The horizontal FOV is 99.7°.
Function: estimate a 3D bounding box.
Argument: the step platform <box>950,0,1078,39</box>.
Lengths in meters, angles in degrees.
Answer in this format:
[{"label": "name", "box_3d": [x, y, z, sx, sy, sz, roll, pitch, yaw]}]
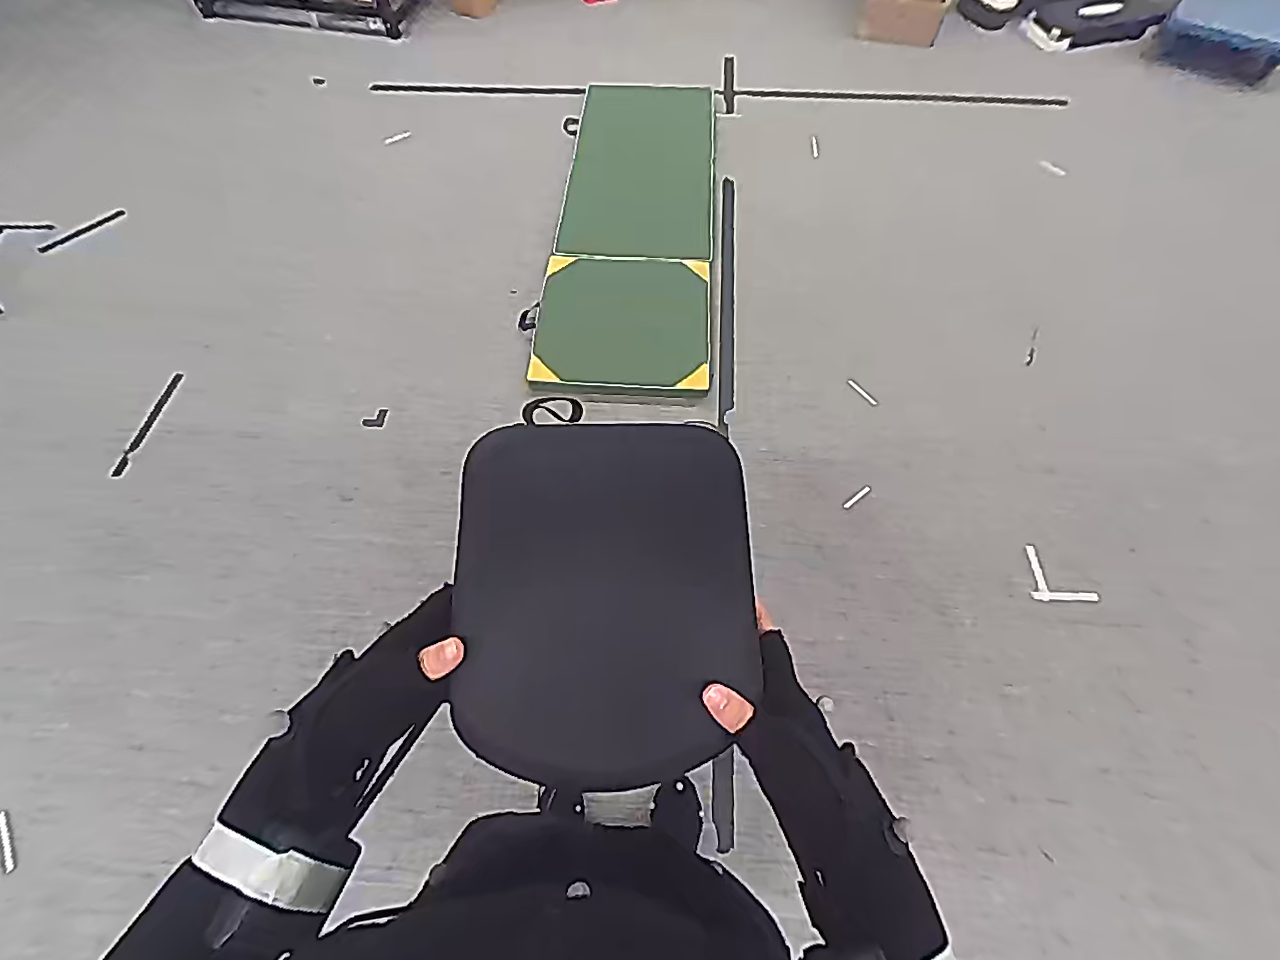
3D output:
[{"label": "step platform", "box_3d": [2.066, -2.629, 2.932, 0.684, 0.204, 0.286, -23, 64, -11]}]
